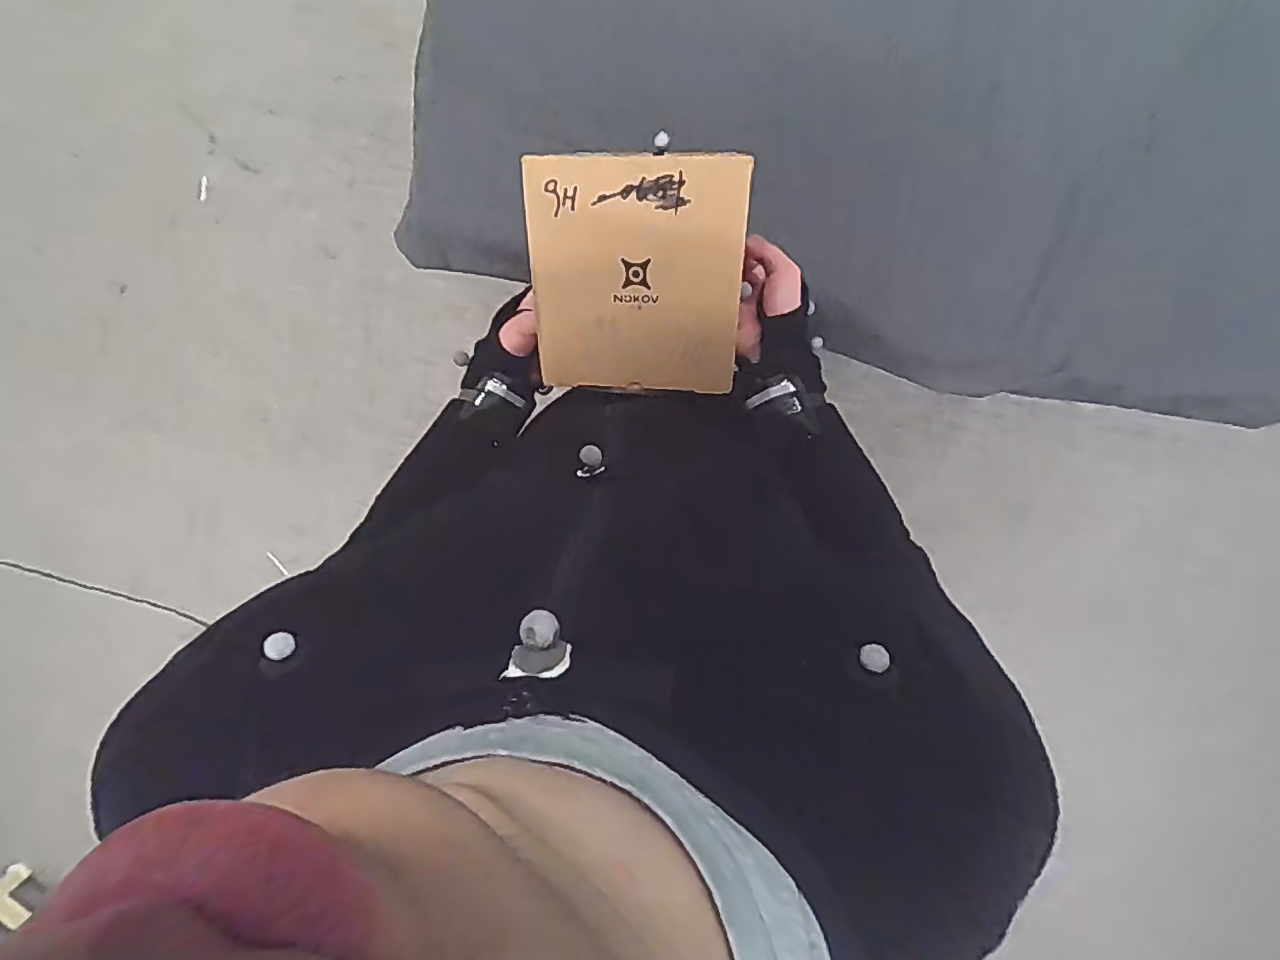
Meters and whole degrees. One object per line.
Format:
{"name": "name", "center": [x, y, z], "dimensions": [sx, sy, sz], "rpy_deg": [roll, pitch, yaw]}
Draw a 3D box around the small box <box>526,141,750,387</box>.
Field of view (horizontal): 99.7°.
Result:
{"name": "small box", "center": [0.004, -0.204, 0.499], "dimensions": [0.168, 0.176, 0.179], "rpy_deg": [4, 124, 4]}
